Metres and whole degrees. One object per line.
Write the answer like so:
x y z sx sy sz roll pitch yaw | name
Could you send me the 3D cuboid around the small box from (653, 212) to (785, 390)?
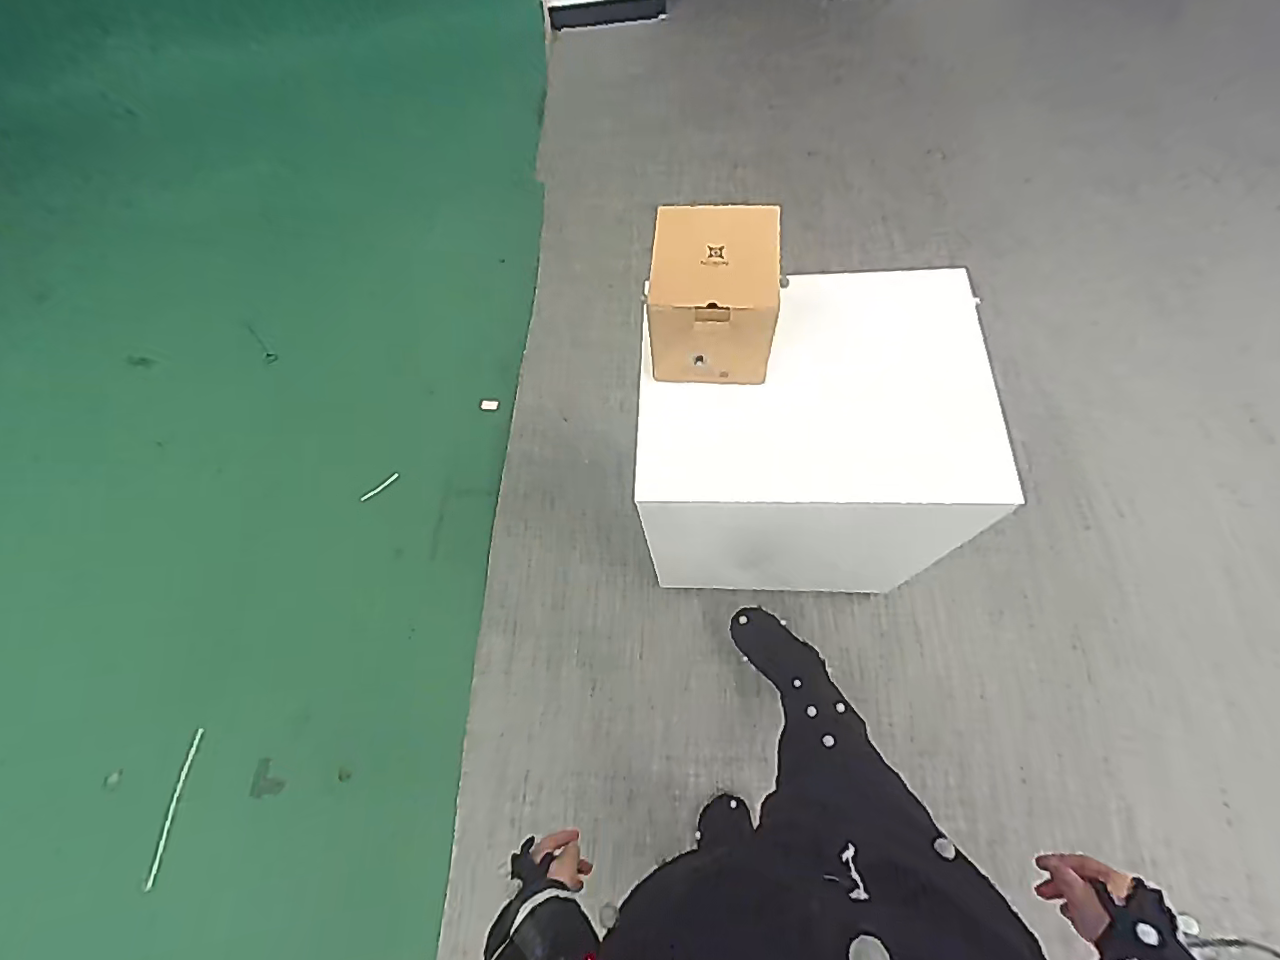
0.110 -0.251 0.772 0.168 0.176 0.179 3 67 7 | small box
